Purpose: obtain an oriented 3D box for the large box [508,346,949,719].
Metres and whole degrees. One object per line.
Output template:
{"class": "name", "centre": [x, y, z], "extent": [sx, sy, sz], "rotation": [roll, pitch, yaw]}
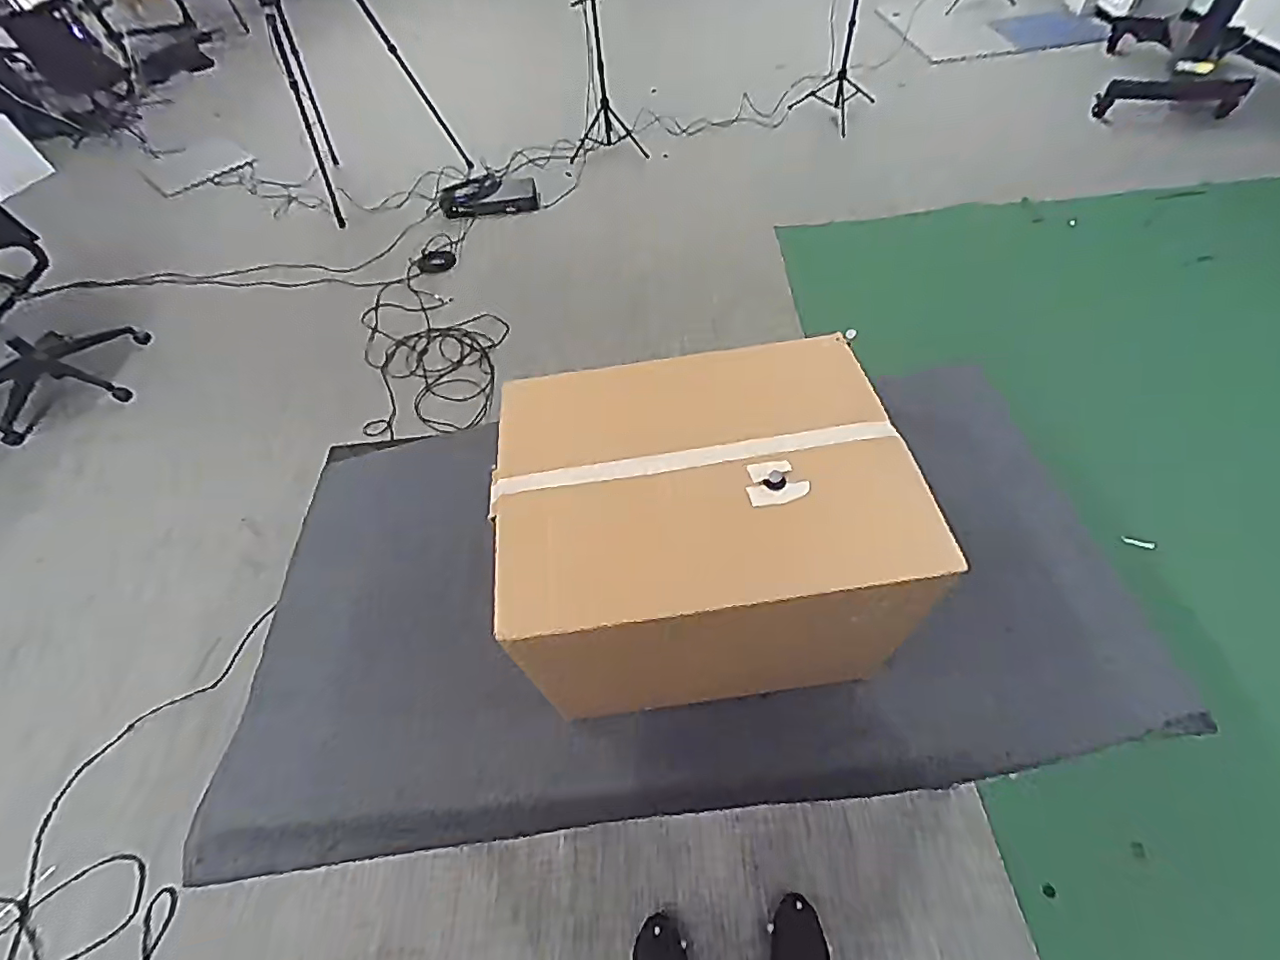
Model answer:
{"class": "large box", "centre": [0.070, 0.077, 0.679], "extent": [0.408, 0.320, 0.320], "rotation": [-9, 55, -1]}
